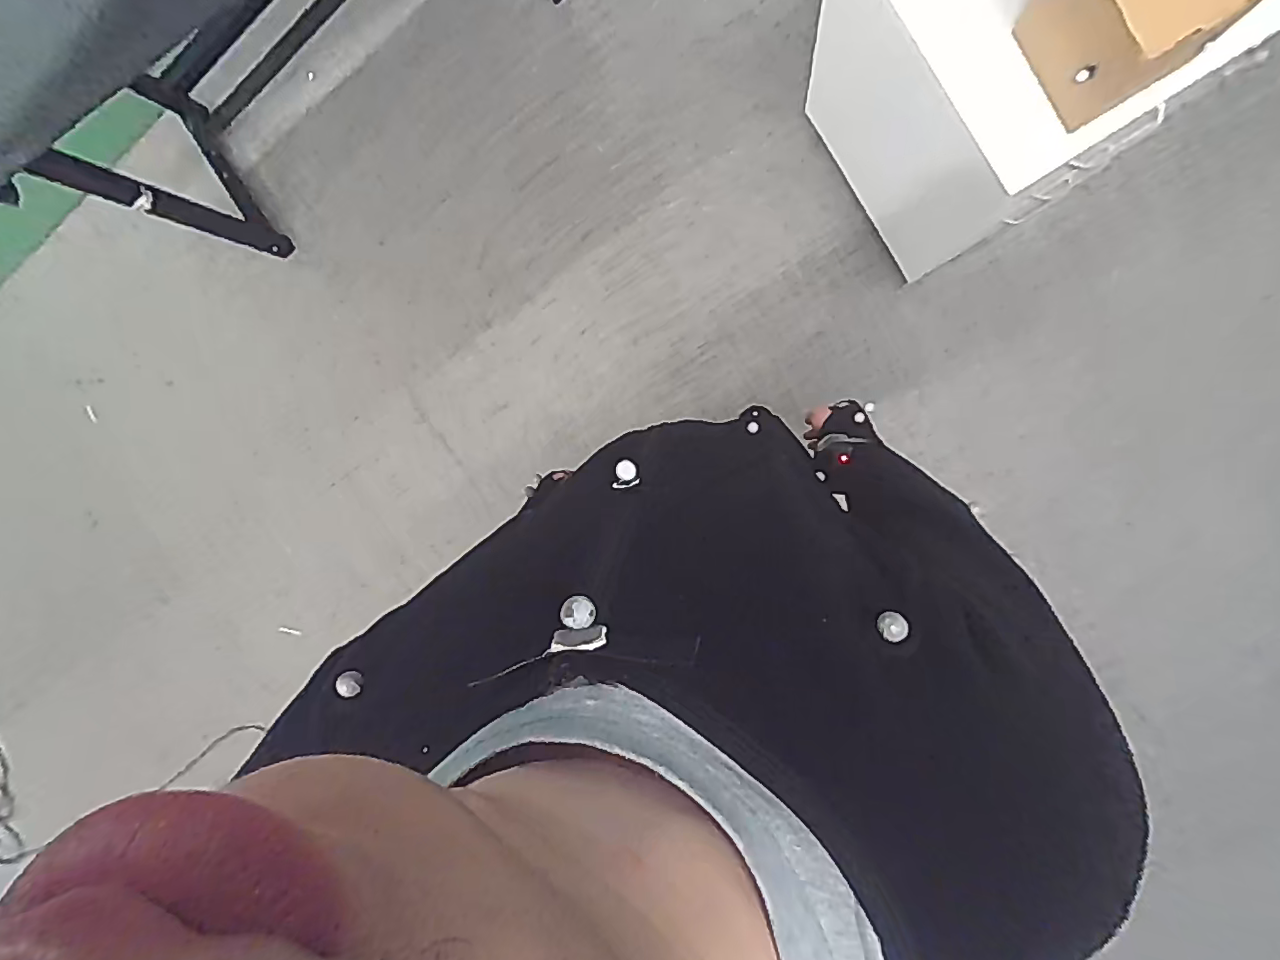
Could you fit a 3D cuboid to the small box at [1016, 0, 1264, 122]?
[{"bbox_3d":[0.625,-0.595,0.678,0.168,0.176,0.179,-29,88,13],"label":"small box"}]
